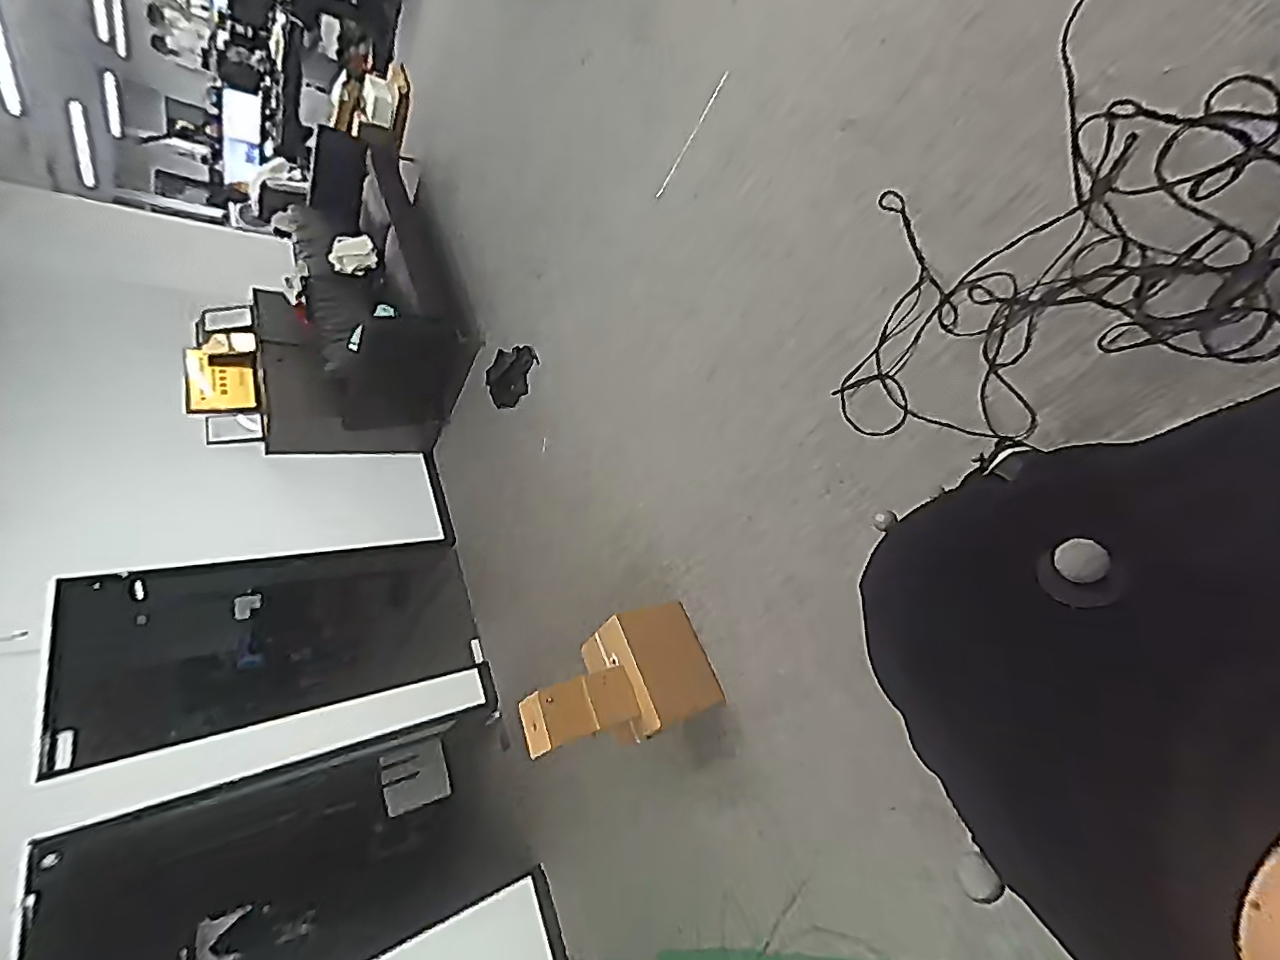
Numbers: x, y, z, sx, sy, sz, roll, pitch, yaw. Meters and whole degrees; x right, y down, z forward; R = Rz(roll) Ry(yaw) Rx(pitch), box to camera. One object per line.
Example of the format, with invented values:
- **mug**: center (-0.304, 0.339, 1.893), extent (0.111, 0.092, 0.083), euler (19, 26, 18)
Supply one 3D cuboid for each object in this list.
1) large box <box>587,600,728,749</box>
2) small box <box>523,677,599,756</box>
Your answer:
- **large box**: center (0.056, 0.713, 2.017), extent (0.320, 0.320, 0.408), euler (-51, 53, 39)
- **small box**: center (-0.255, 0.765, 1.756), extent (0.168, 0.176, 0.179), euler (-48, 55, 42)
